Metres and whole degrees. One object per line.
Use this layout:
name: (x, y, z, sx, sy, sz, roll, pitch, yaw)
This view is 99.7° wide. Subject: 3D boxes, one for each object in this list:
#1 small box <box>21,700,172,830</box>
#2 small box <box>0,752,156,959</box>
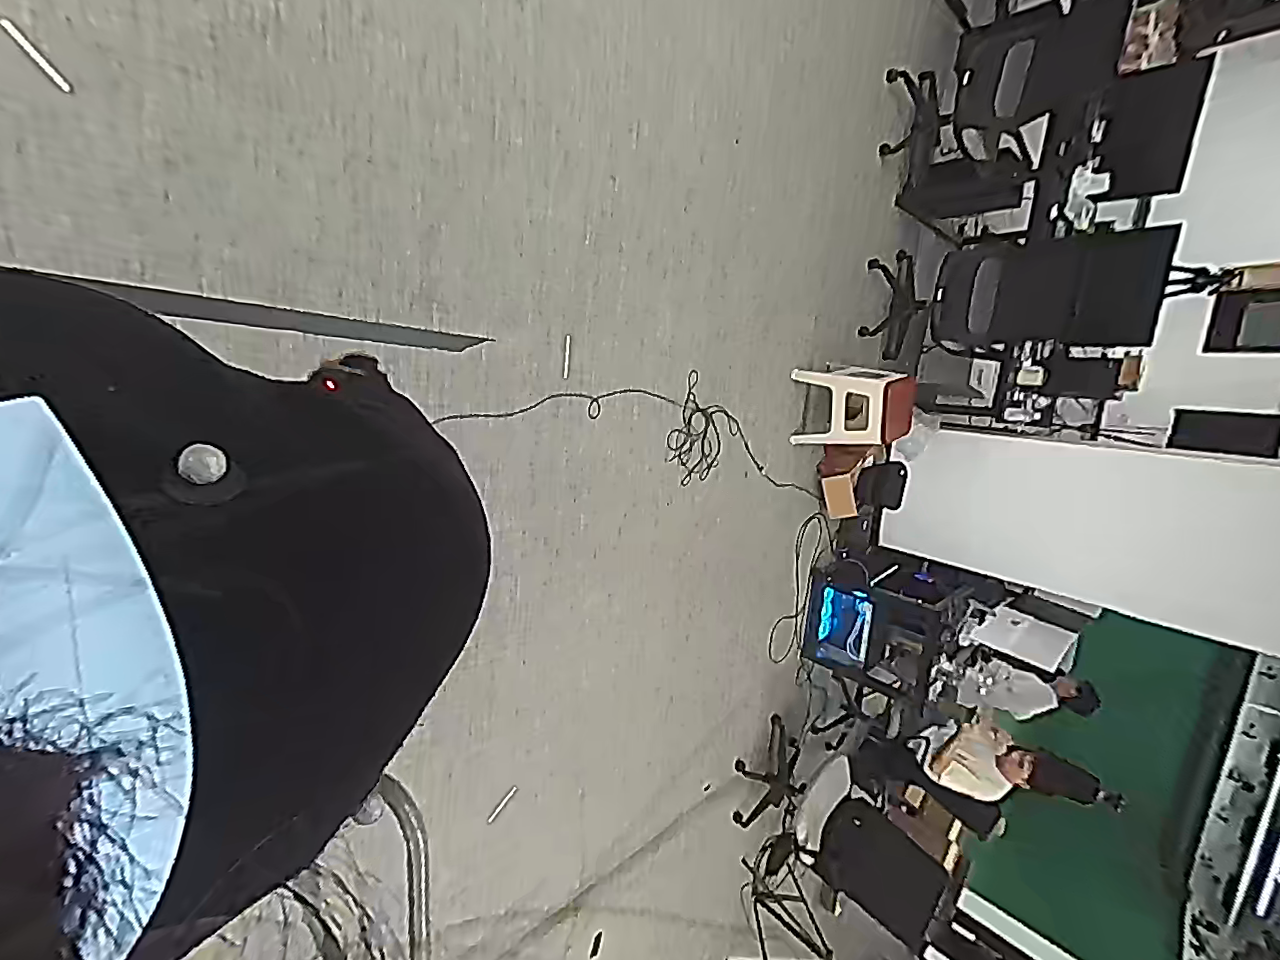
small box: (-0.962, 0.536, 0.970, 0.168, 0.176, 0.179, -11, 107, -42)
small box: (-0.870, 0.568, 0.836, 0.168, 0.176, 0.179, -10, 107, -42)
